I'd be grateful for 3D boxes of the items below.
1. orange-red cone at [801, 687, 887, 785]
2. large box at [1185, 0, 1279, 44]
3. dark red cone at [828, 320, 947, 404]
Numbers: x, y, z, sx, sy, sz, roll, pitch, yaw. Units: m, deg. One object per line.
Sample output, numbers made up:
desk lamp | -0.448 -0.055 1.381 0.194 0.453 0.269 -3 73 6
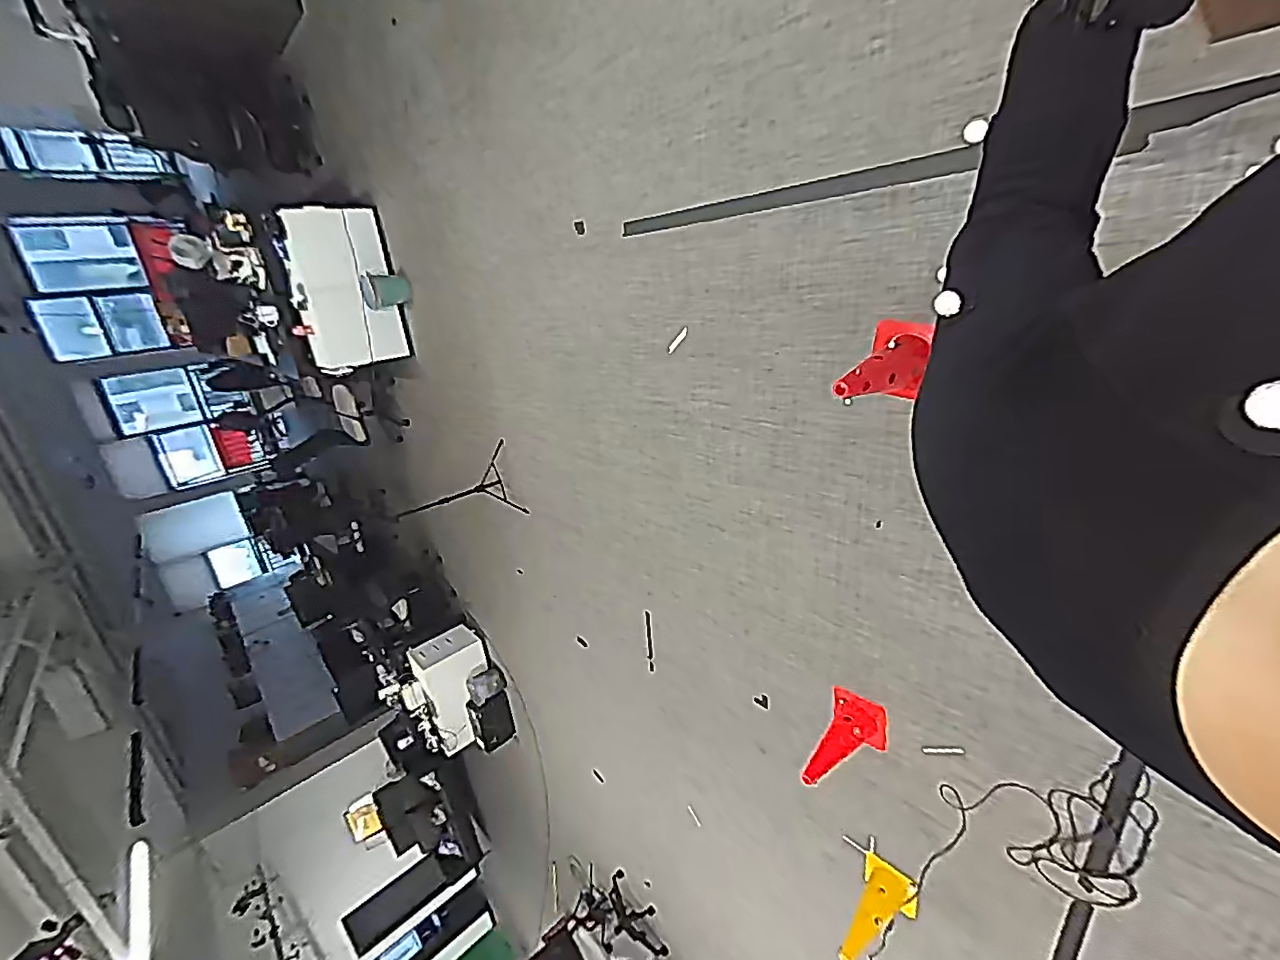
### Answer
orange-red cone | 0.672 0.920 1.859 0.198 0.360 0.199 15 121 48
large box | 0.539 -0.465 0.227 0.408 0.320 0.320 15 121 44
dark red cone | 0.573 -0.261 1.323 0.201 0.394 0.202 23 125 41
